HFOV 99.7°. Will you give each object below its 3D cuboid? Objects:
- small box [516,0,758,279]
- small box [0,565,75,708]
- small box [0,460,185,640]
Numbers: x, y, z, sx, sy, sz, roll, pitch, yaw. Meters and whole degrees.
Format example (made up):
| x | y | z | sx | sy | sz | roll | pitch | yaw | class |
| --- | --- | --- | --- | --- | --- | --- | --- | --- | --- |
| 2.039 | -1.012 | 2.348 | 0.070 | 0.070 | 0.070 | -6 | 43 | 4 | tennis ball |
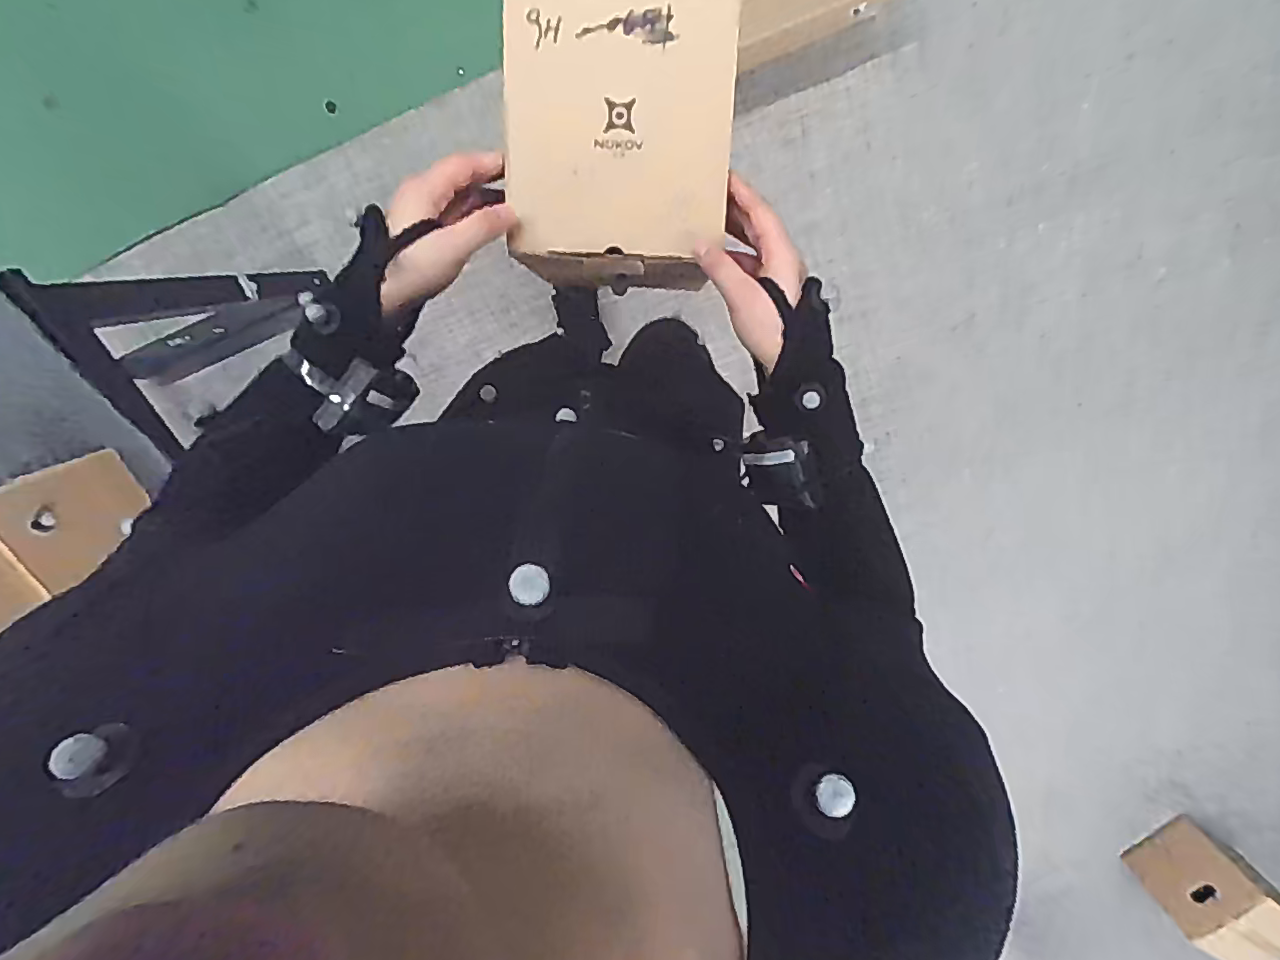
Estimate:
| x | y | z | sx | sy | sz | roll | pitch | yaw | class |
| --- | --- | --- | --- | --- | --- | --- | --- | --- | --- |
| -0.005 | -0.273 | 0.461 | 0.168 | 0.176 | 0.179 | 3 | 104 | 0 | small box |
| -0.728 | 0.170 | 0.510 | 0.168 | 0.176 | 0.179 | -17 | 114 | 6 | small box |
| -0.725 | 0.089 | 0.653 | 0.168 | 0.176 | 0.179 | -16 | 114 | 6 | small box |
